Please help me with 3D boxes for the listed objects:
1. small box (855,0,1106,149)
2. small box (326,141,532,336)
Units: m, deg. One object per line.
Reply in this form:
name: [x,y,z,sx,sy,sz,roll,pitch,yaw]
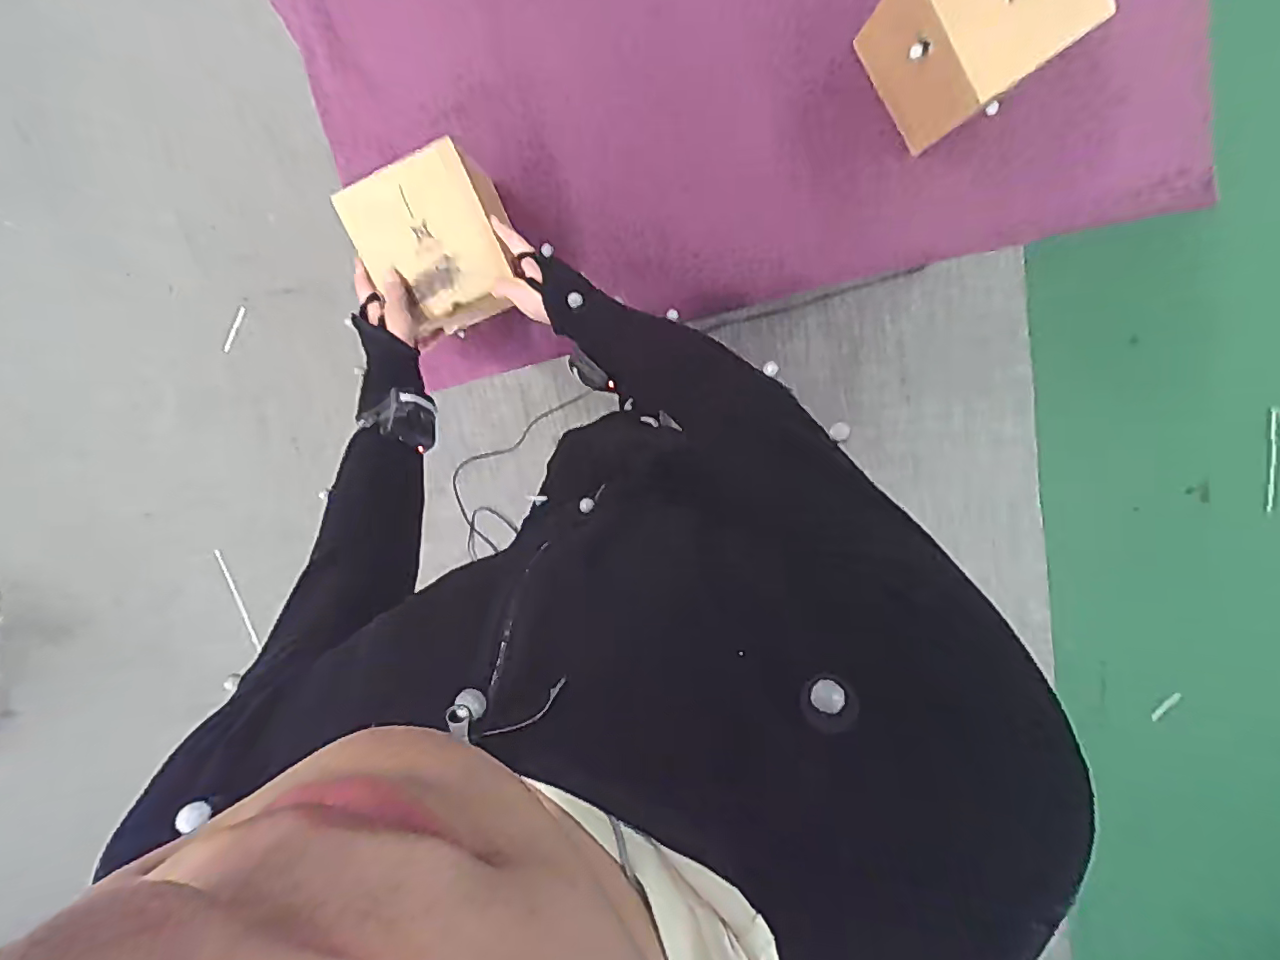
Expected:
small box: [0.402,-0.549,0.670,0.168,0.176,0.179,-33,99,8]
small box: [-0.265,-0.305,0.729,0.168,0.176,0.179,-23,100,6]
